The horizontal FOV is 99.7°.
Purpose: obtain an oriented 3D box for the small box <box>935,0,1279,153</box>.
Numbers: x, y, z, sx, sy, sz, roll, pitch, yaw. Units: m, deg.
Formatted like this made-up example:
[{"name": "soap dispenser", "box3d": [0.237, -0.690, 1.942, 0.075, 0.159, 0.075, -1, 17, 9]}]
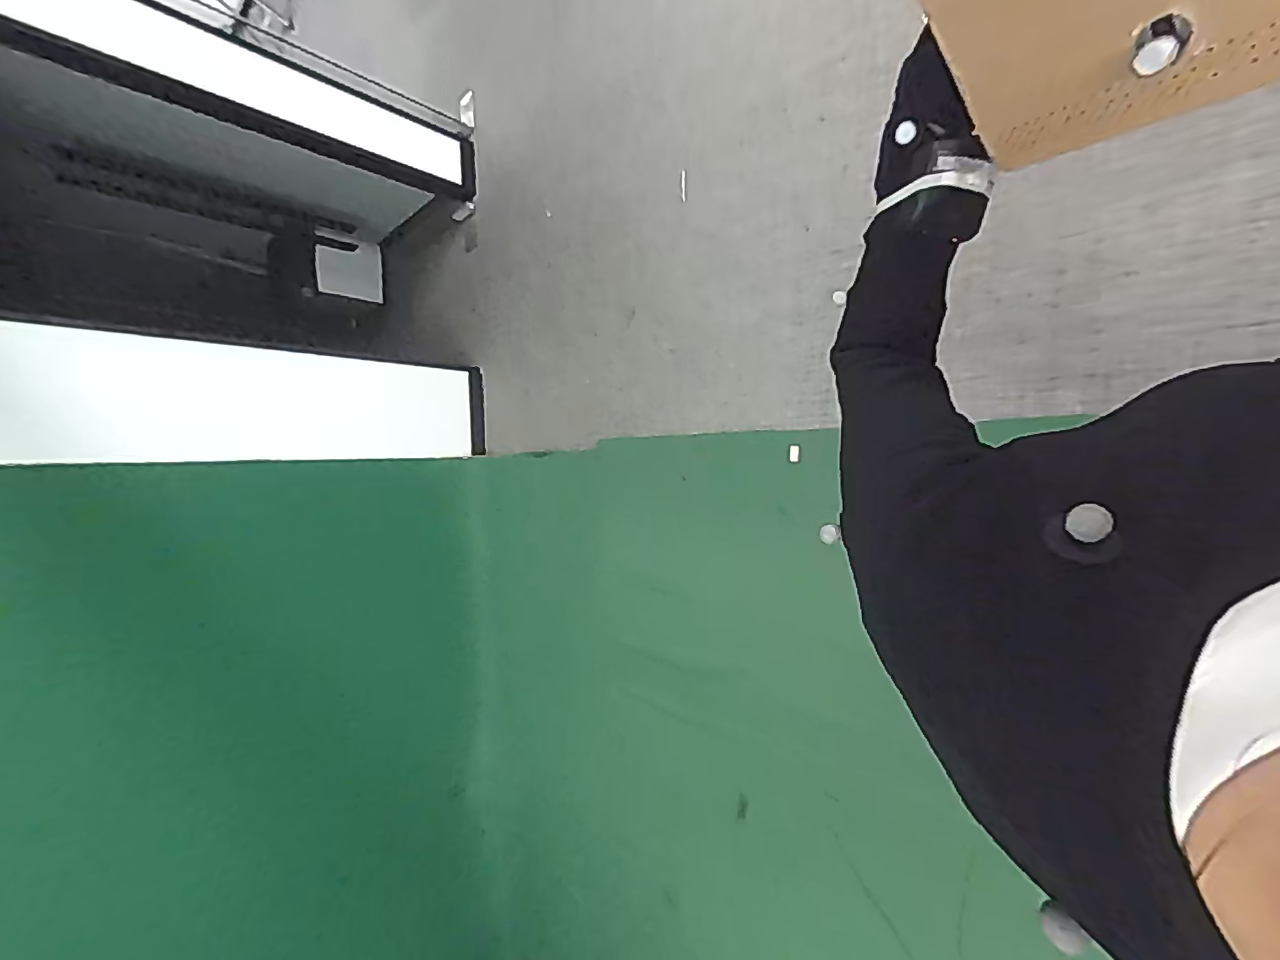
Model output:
[{"name": "small box", "box3d": [0.269, -0.307, 0.257, 0.168, 0.176, 0.179, -57, 29, -12]}]
